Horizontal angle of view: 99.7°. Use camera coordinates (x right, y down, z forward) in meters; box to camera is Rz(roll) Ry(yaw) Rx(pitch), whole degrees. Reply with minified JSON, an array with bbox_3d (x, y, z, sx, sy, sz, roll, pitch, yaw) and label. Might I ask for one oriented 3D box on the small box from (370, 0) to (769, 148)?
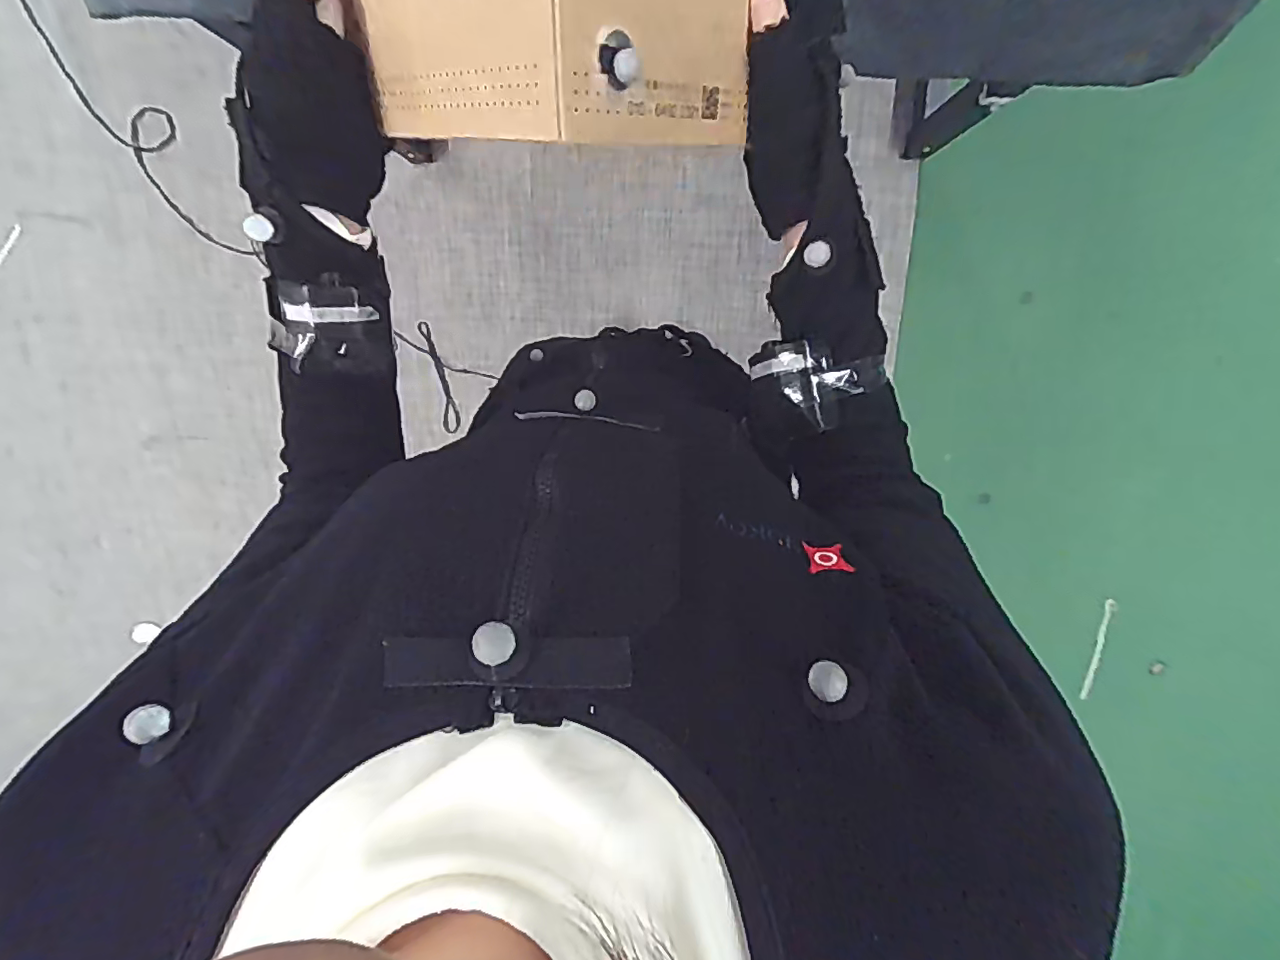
[{"bbox_3d":[-0.037,-0.285,0.299,0.179,0.168,0.176,26,129,35],"label":"small box"}]
